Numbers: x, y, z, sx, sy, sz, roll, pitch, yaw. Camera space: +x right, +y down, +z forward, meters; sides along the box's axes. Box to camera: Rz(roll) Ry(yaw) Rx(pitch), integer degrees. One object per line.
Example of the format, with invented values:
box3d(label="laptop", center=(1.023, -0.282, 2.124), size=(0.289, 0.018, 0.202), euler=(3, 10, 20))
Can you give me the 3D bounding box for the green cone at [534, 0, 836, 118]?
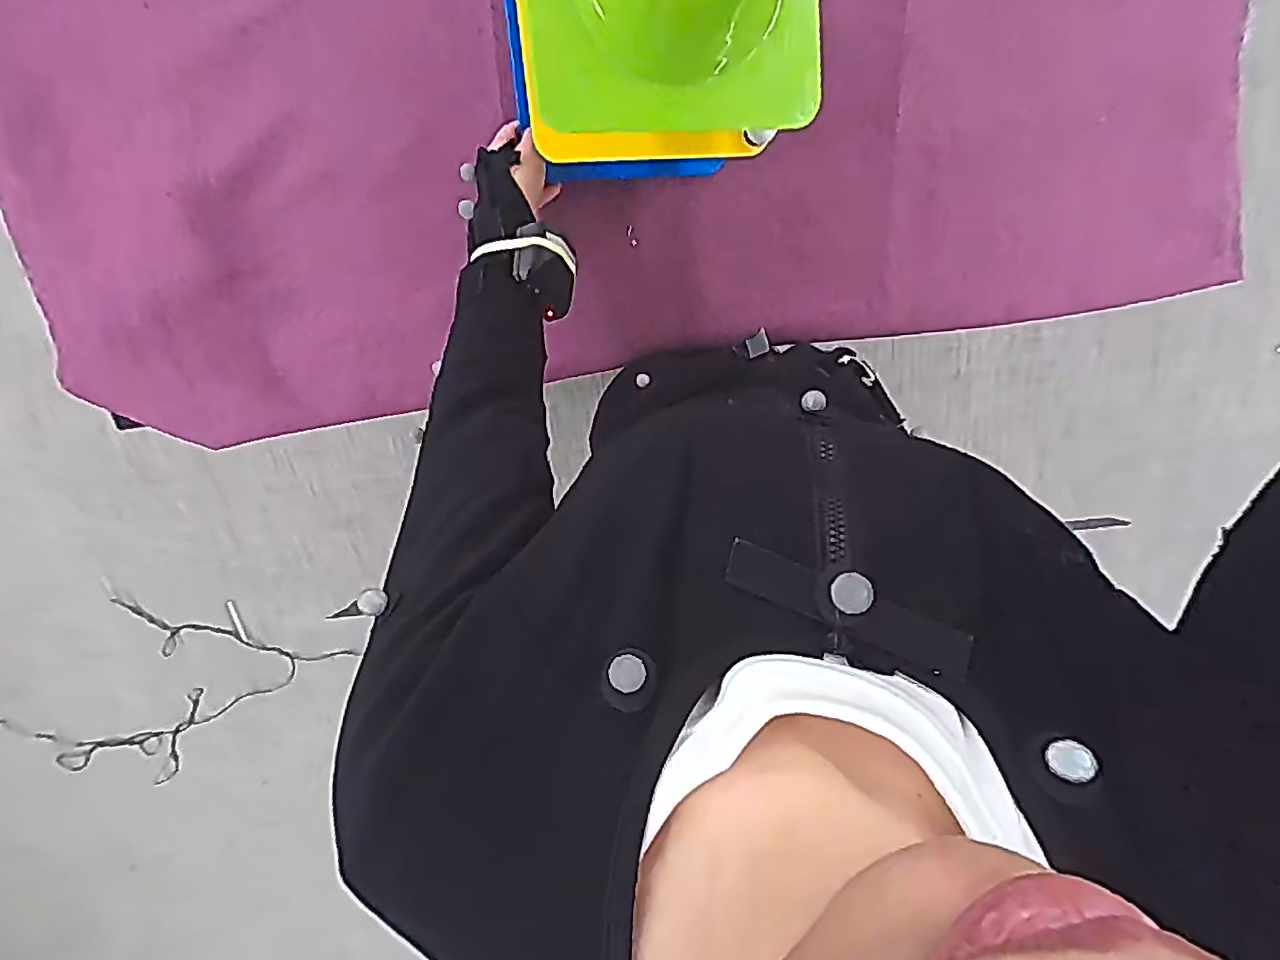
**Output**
box3d(label="green cone", center=(0.055, -0.311, 0.173), size=(0.200, 0.368, 0.202), euler=(-7, 101, -8))
